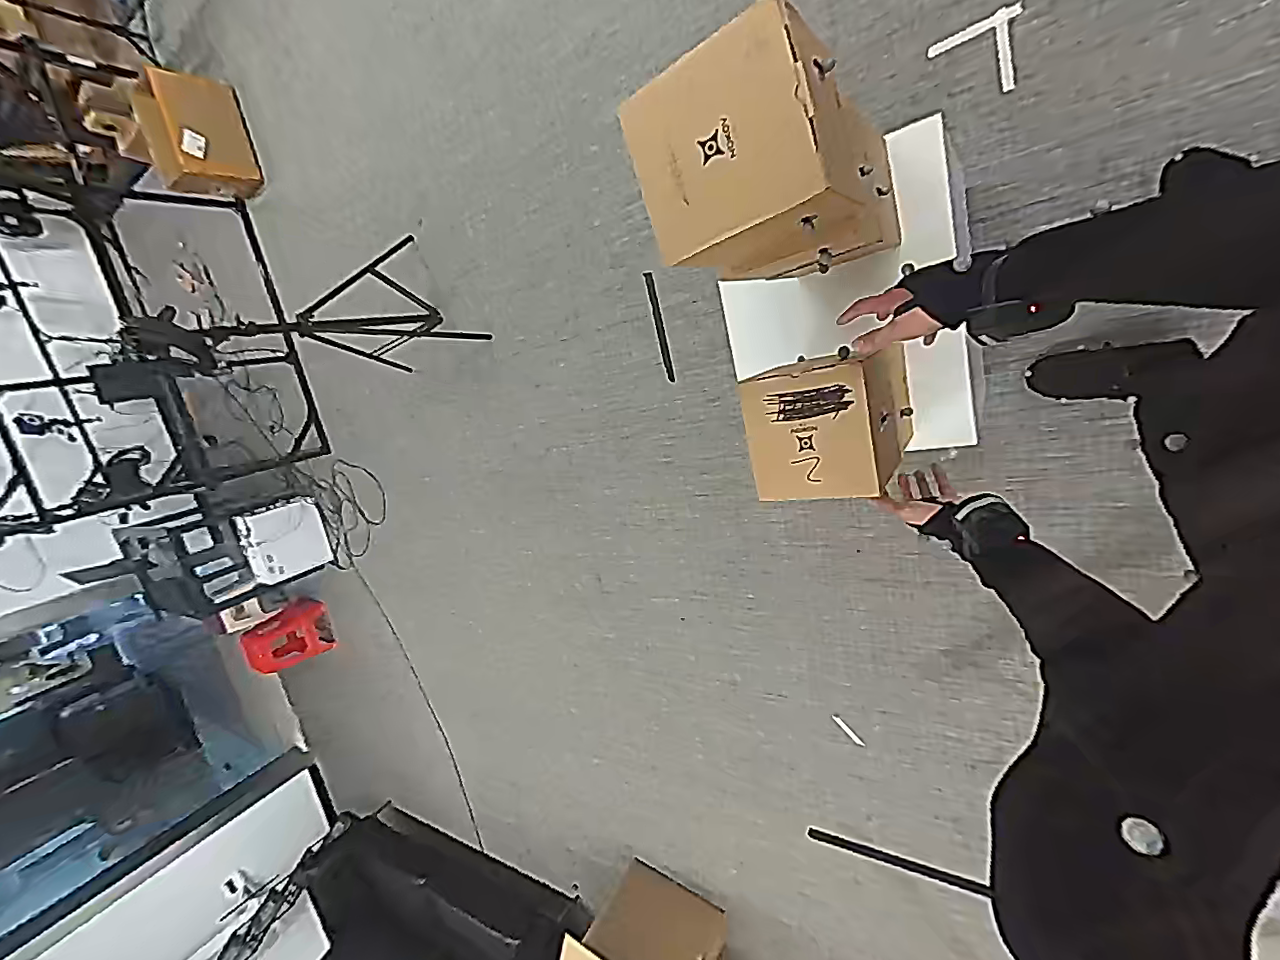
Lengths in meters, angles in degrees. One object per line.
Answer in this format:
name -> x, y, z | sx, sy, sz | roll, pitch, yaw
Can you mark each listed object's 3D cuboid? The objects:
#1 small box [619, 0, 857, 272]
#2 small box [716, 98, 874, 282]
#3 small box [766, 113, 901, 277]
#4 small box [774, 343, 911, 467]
small box -> 0.113, -0.333, 0.566 | 0.179, 0.176, 0.168 | -12, 100, 37
small box -> 0.195, -0.369, 0.703 | 0.179, 0.176, 0.168 | -6, 105, 36
small box -> 0.284, -0.420, 0.832 | 0.179, 0.176, 0.168 | -7, 105, 37
small box -> 0.346, -0.127, 0.906 | 0.179, 0.176, 0.168 | -4, 105, 36
